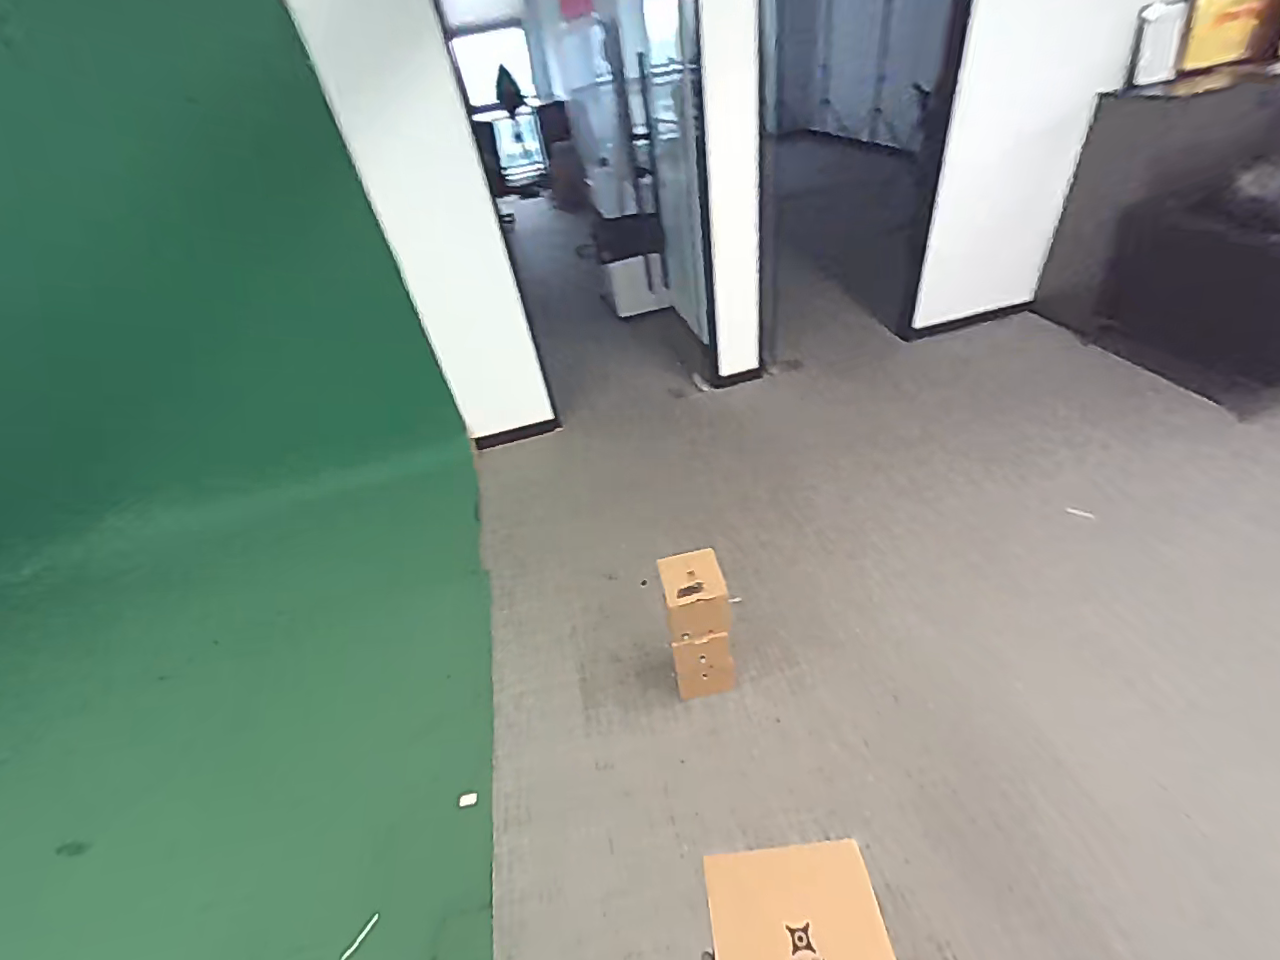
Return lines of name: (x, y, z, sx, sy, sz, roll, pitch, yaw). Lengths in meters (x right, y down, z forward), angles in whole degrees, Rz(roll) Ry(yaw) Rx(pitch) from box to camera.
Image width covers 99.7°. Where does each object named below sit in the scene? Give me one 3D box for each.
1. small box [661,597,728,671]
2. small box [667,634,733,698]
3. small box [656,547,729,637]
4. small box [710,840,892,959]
small box: (0.165, 0.455, 1.628, 0.168, 0.176, 0.179, -12, 41, -1)
small box: (0.193, 0.575, 1.736, 0.179, 0.176, 0.168, -11, 40, -1)
small box: (0.150, 0.324, 1.530, 0.168, 0.176, 0.179, -13, 40, -2)
small box: (0.162, 0.499, 0.553, 0.168, 0.176, 0.179, -7, 37, 10)
